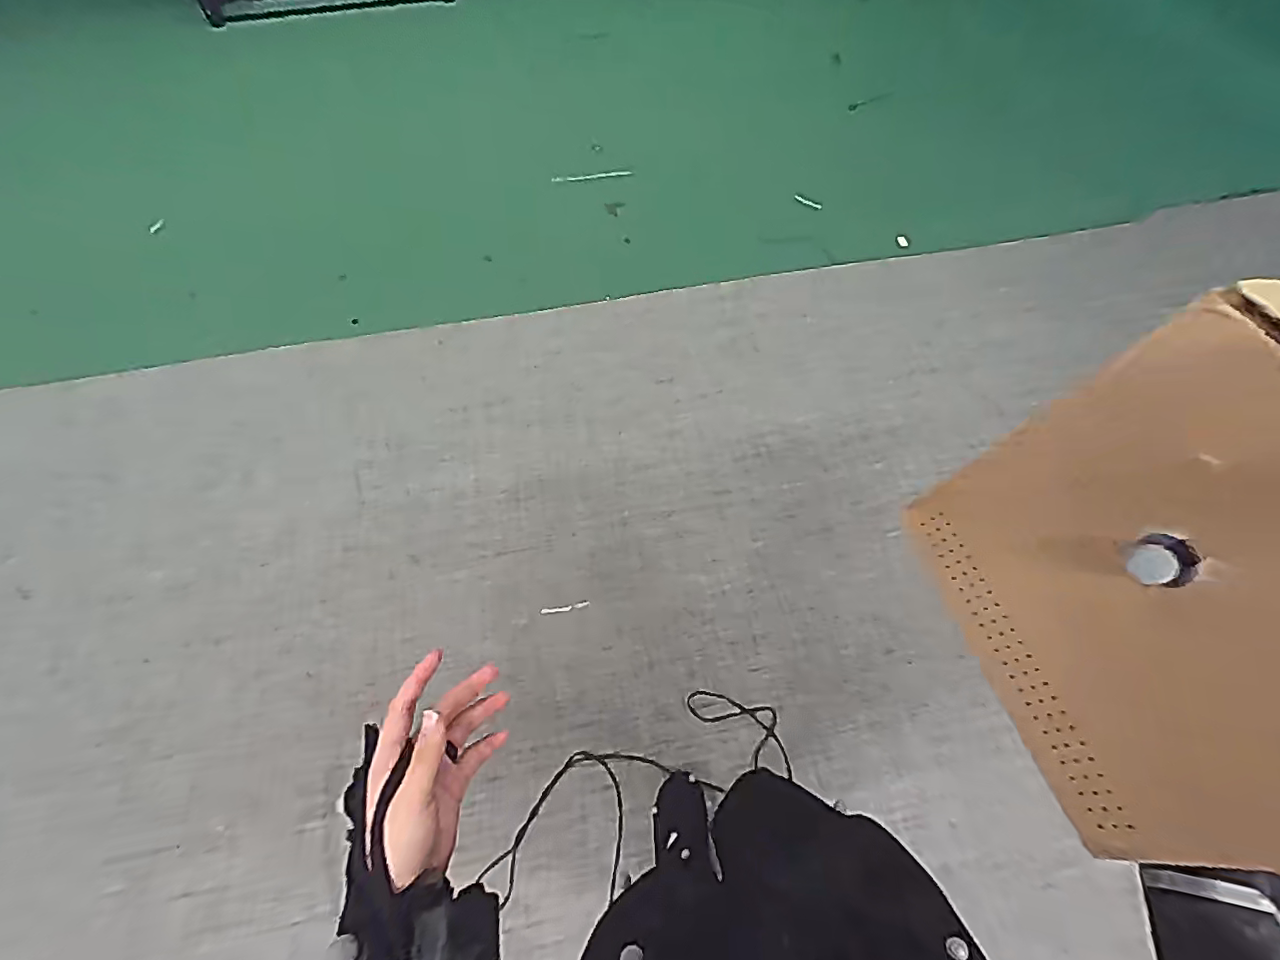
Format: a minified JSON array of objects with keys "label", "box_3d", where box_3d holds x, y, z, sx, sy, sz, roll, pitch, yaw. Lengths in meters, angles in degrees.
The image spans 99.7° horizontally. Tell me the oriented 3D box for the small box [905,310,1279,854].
[{"label":"small box","box_3d":[0.267,0.045,0.247,0.168,0.176,0.179,-9,61,-22]}]
